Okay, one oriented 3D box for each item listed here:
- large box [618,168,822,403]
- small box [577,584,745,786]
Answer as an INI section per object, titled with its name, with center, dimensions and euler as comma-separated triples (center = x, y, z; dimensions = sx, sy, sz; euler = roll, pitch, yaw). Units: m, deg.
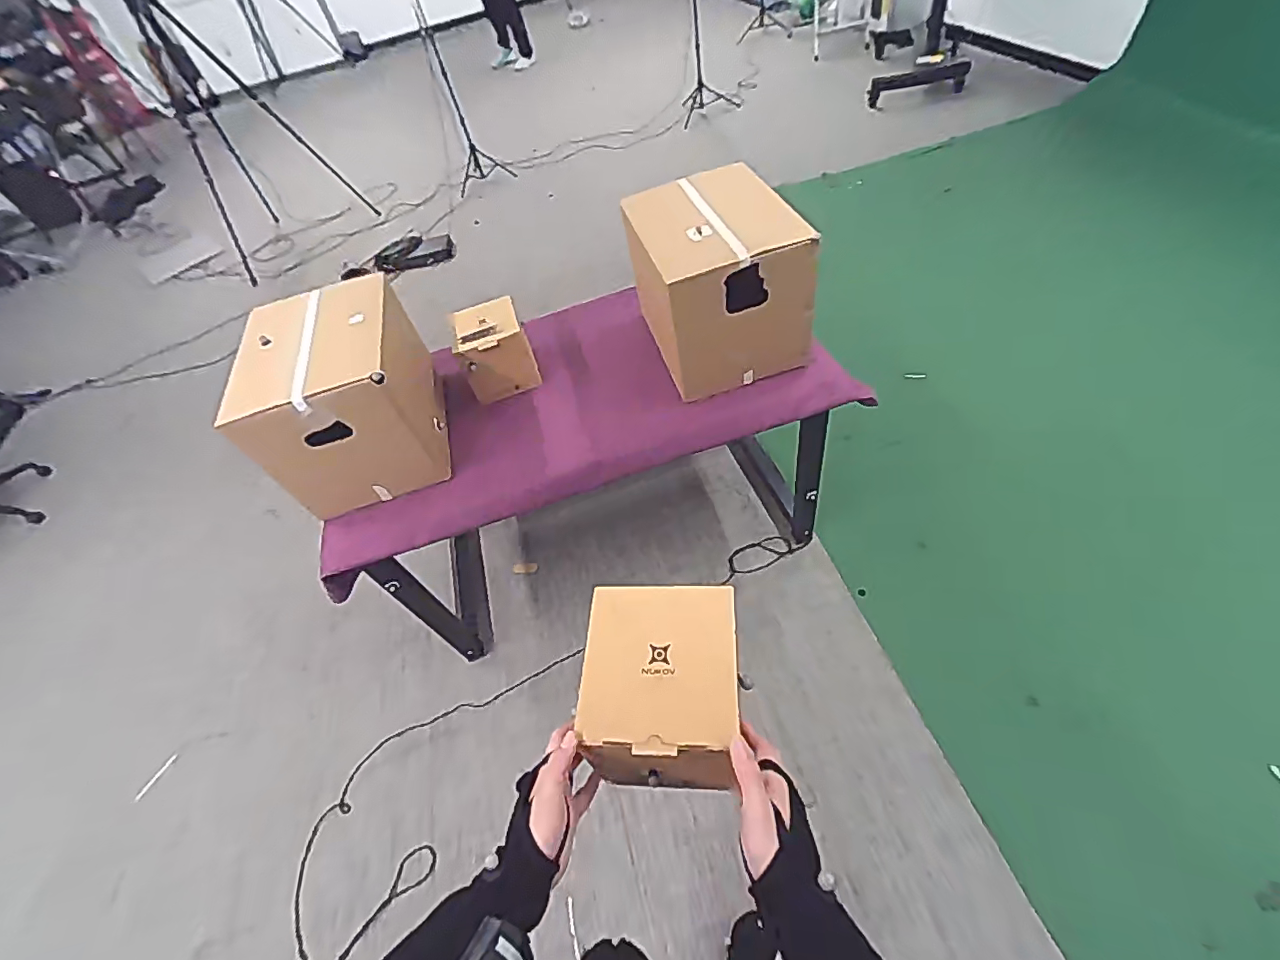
[large box]
center = 0.170, -0.453, 1.255
dimensions = 0.320, 0.320, 0.408
euler = -19, 51, -2
[small box]
center = 0.033, 0.238, 0.632
dimensions = 0.168, 0.176, 0.179
euler = -2, 50, 8
